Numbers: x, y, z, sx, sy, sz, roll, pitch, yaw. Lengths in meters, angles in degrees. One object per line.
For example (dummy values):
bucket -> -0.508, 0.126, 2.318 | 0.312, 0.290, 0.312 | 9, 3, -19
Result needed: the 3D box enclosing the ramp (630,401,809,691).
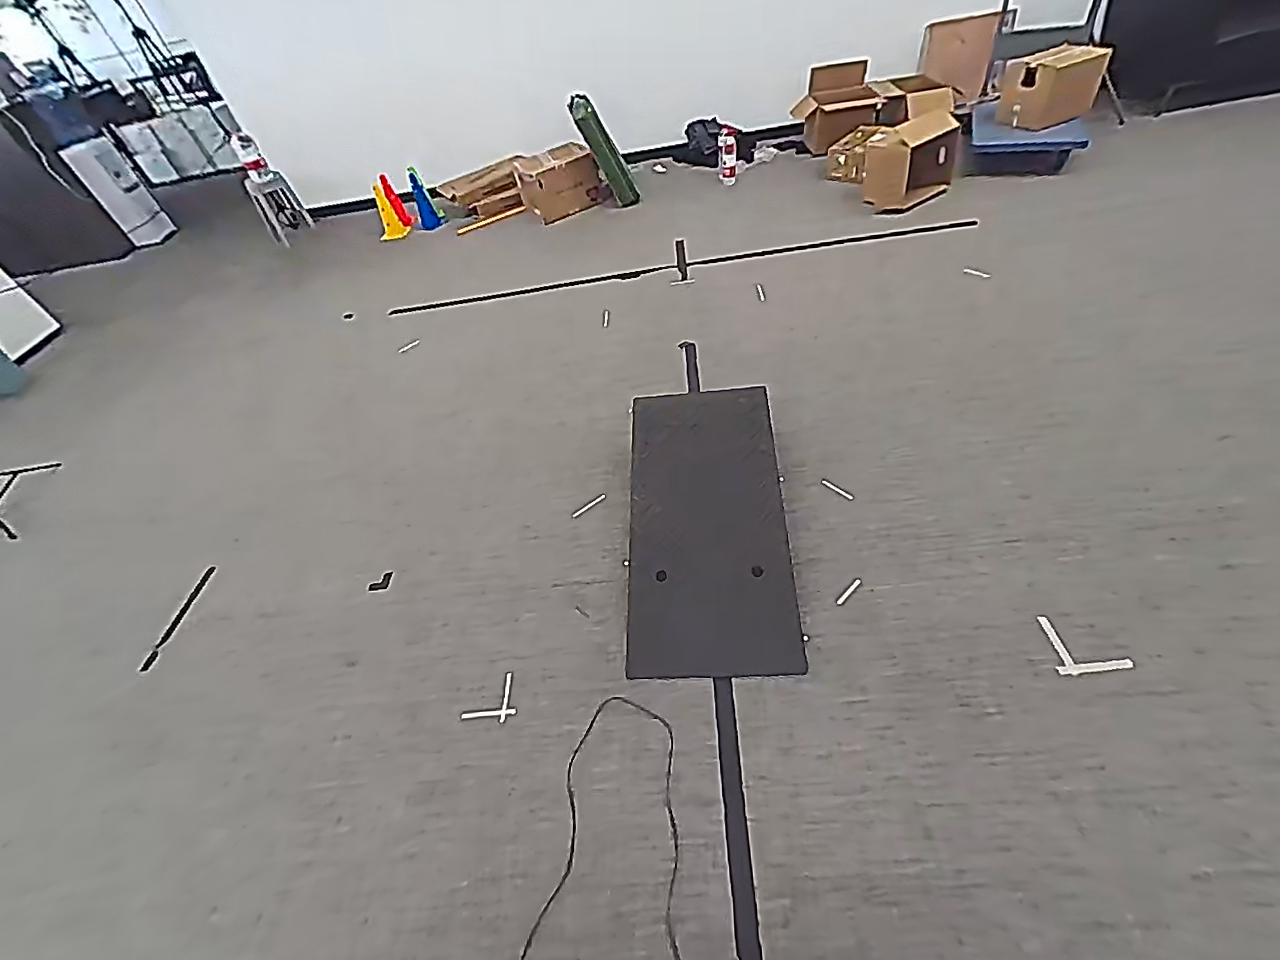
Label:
ramp -> 0.211, 0.149, 1.743 | 0.509, 0.206, 0.991 | -6, 46, 6
